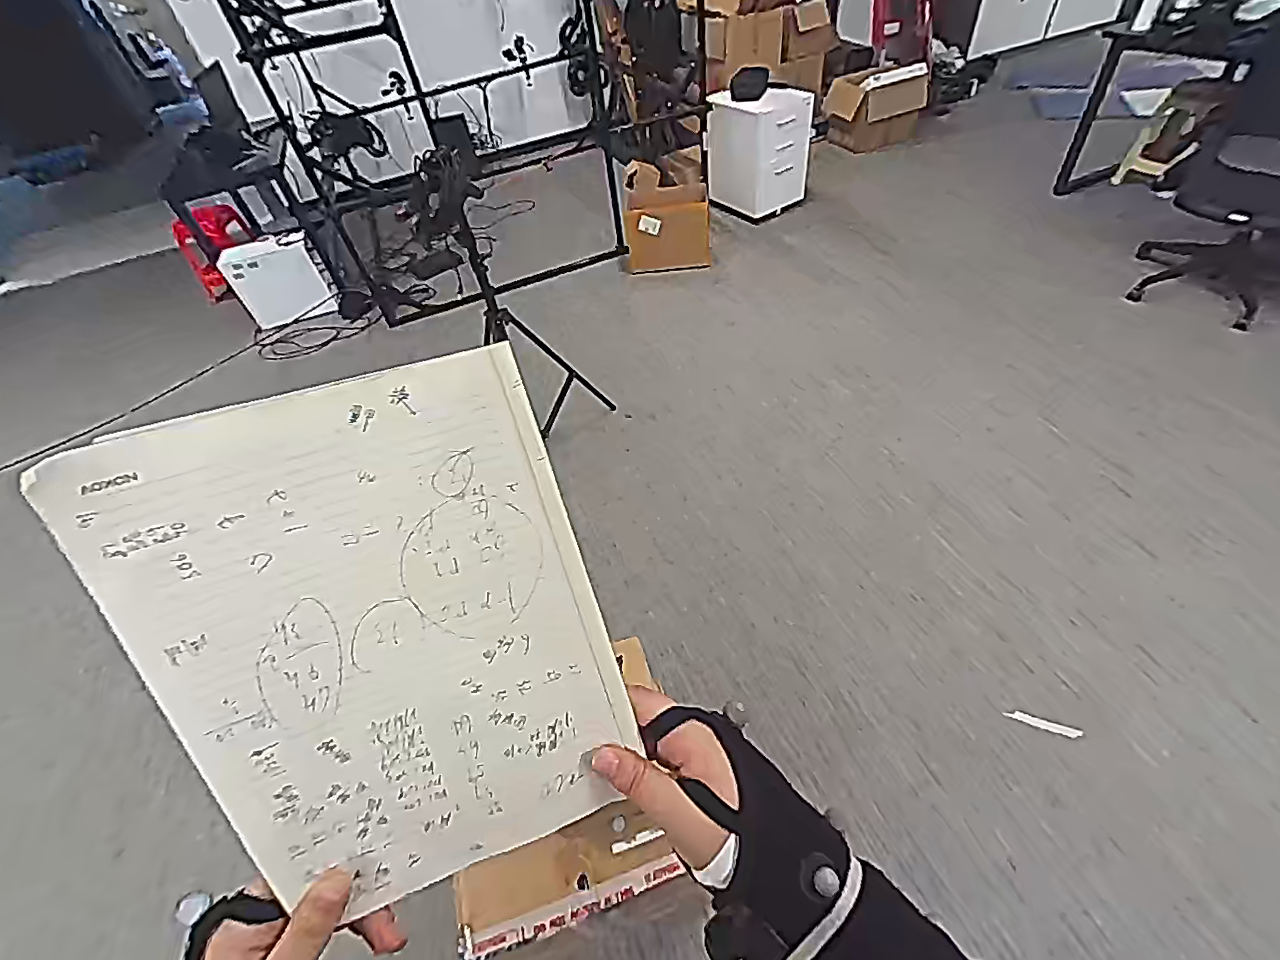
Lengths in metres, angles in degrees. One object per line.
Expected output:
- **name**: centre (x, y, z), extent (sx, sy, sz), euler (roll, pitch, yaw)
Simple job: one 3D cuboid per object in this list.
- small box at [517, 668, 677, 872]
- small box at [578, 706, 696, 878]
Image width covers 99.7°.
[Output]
- **small box**: centre (-0.055, 0.382, 0.713), extent (0.168, 0.176, 0.179), euler (-14, 49, -8)
- **small box**: centre (-0.025, 0.485, 0.840), extent (0.179, 0.176, 0.168), euler (-18, 49, -10)
